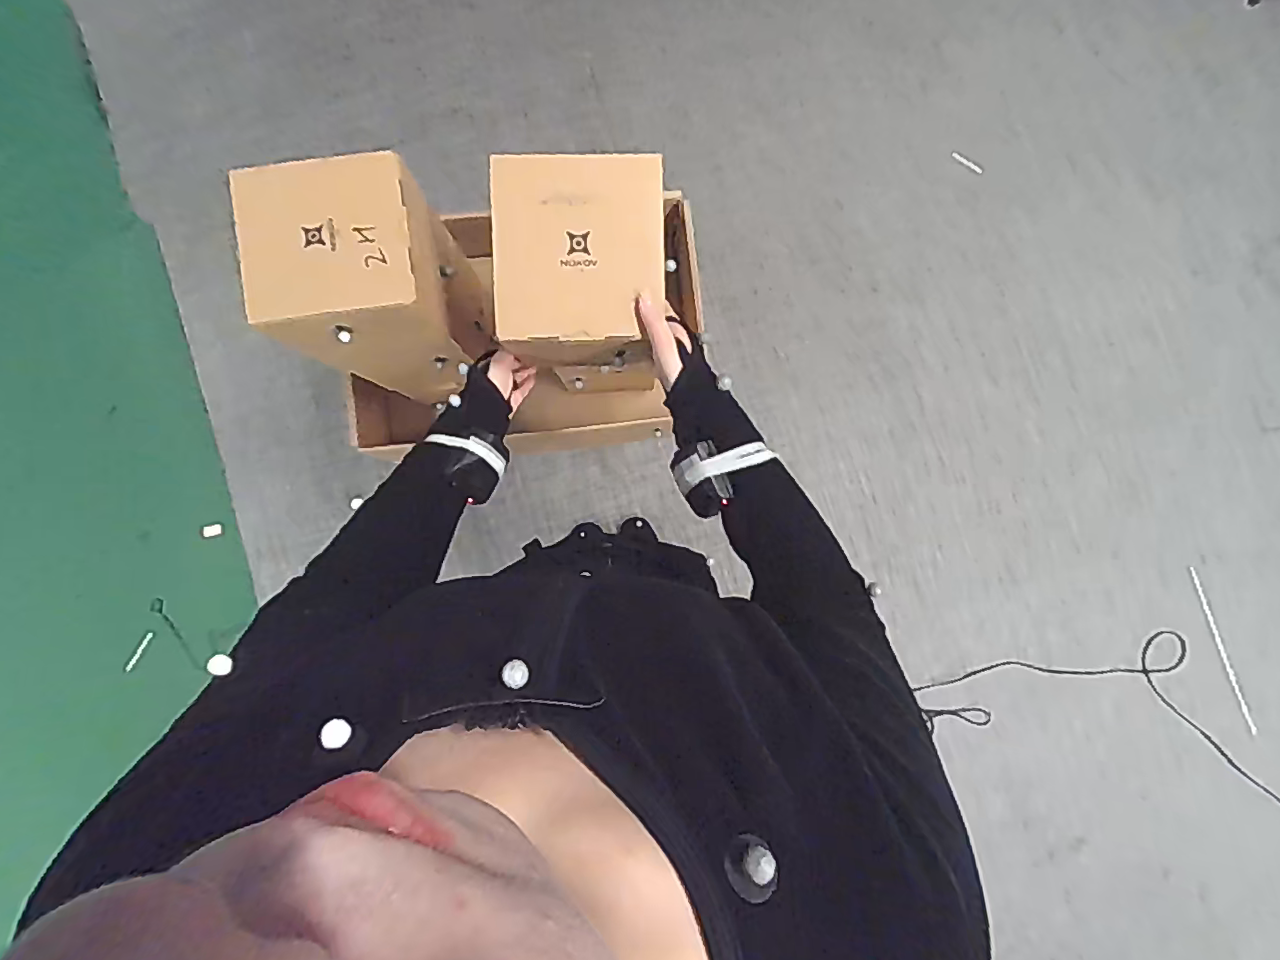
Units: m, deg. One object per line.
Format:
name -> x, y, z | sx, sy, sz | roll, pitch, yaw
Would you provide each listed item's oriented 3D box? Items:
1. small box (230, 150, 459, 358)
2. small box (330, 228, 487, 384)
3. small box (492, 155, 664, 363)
small box -> -0.332, -0.251, 0.638 | 0.179, 0.176, 0.168 | -8, 88, -3
small box -> -0.340, -0.247, 0.803 | 0.179, 0.176, 0.168 | -7, 88, -3
small box -> -0.061, -0.225, 0.597 | 0.168, 0.176, 0.179 | -1, 94, -3
